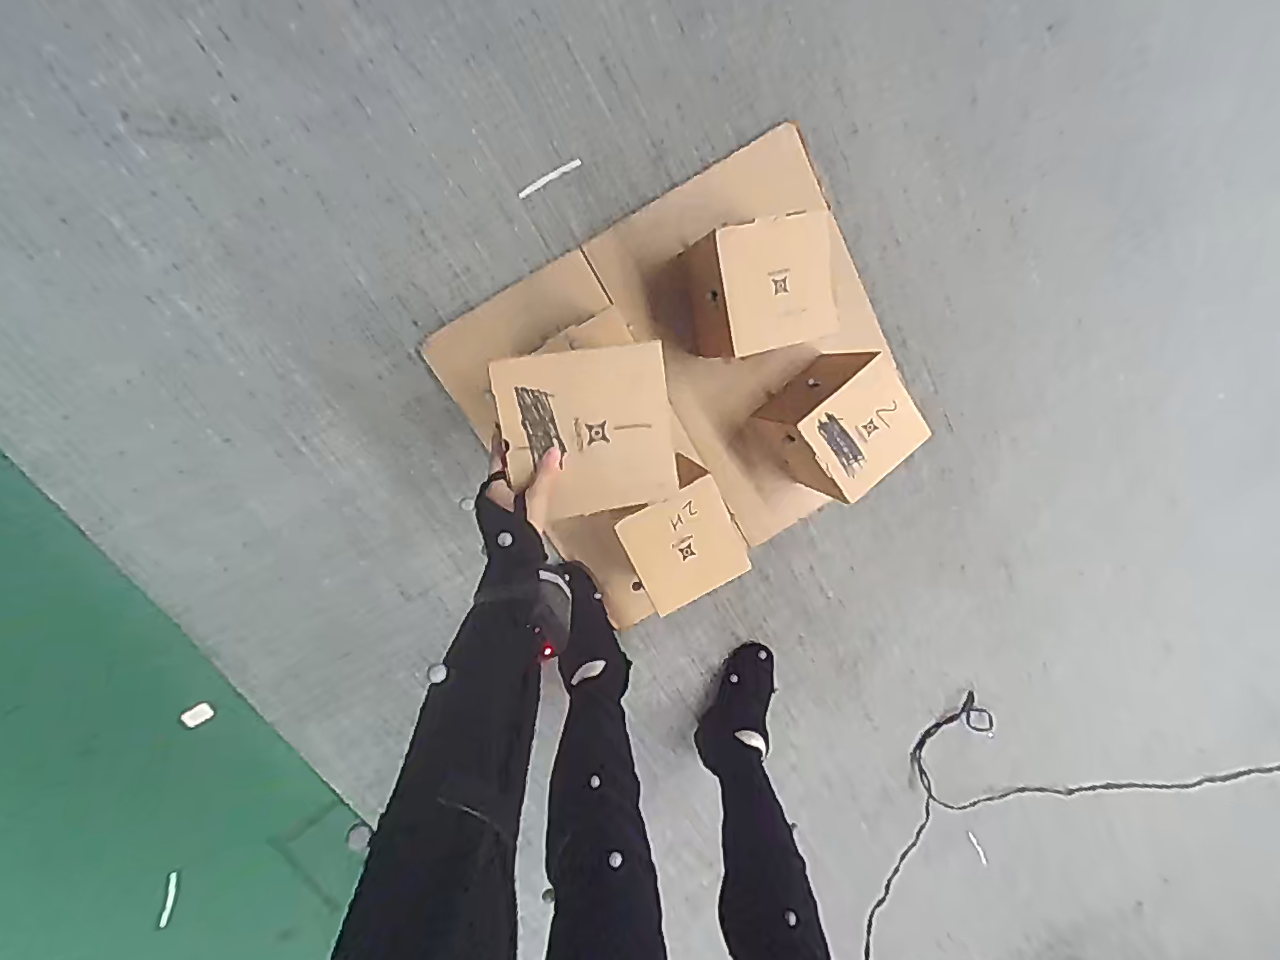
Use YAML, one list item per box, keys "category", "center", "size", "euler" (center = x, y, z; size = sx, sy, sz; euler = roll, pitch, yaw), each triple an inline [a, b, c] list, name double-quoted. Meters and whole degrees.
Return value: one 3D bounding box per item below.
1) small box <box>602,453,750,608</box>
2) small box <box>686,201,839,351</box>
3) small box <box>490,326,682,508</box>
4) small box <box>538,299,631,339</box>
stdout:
- category: "small box"
  center: [0.051, 0.071, 0.885]
  size: [0.168, 0.176, 0.179]
  euler: [-27, 106, -5]
- category: "small box"
  center: [0.178, -0.299, 0.825]
  size: [0.168, 0.176, 0.179]
  euler: [-14, 105, -8]
- category: "small box"
  center: [-0.066, -0.075, 0.619]
  size: [0.179, 0.176, 0.168]
  euler: [-10, 102, -12]
- category: "small box"
  center: [-0.078, -0.148, 0.811]
  size: [0.168, 0.176, 0.179]
  euler: [-31, 106, -4]
